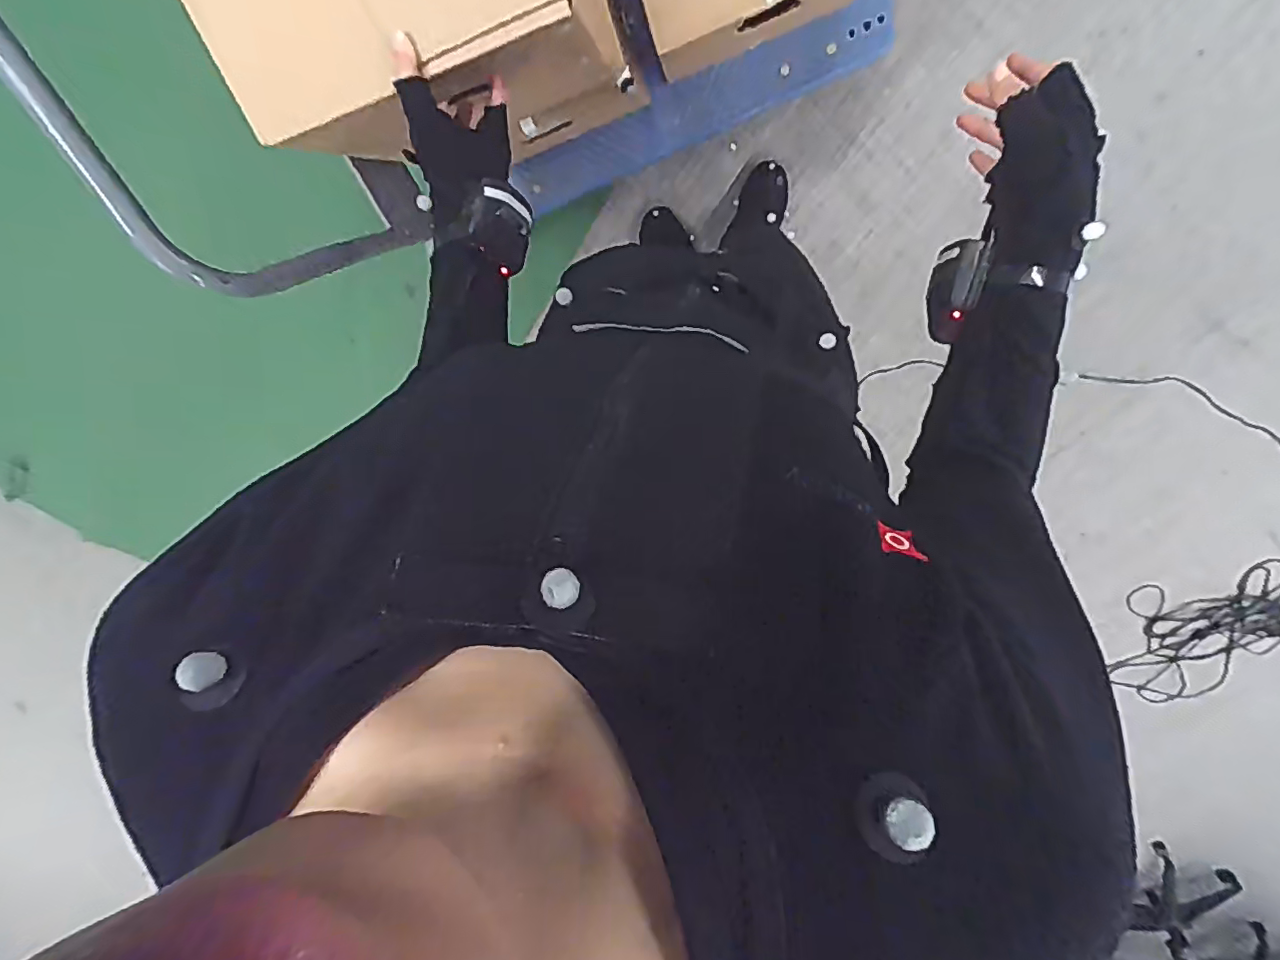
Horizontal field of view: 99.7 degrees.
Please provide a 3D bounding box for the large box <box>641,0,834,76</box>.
[{"bbox_3d":[0.108,-0.842,0.711,0.320,0.320,0.408,-15,119,14],"label":"large box"}]
